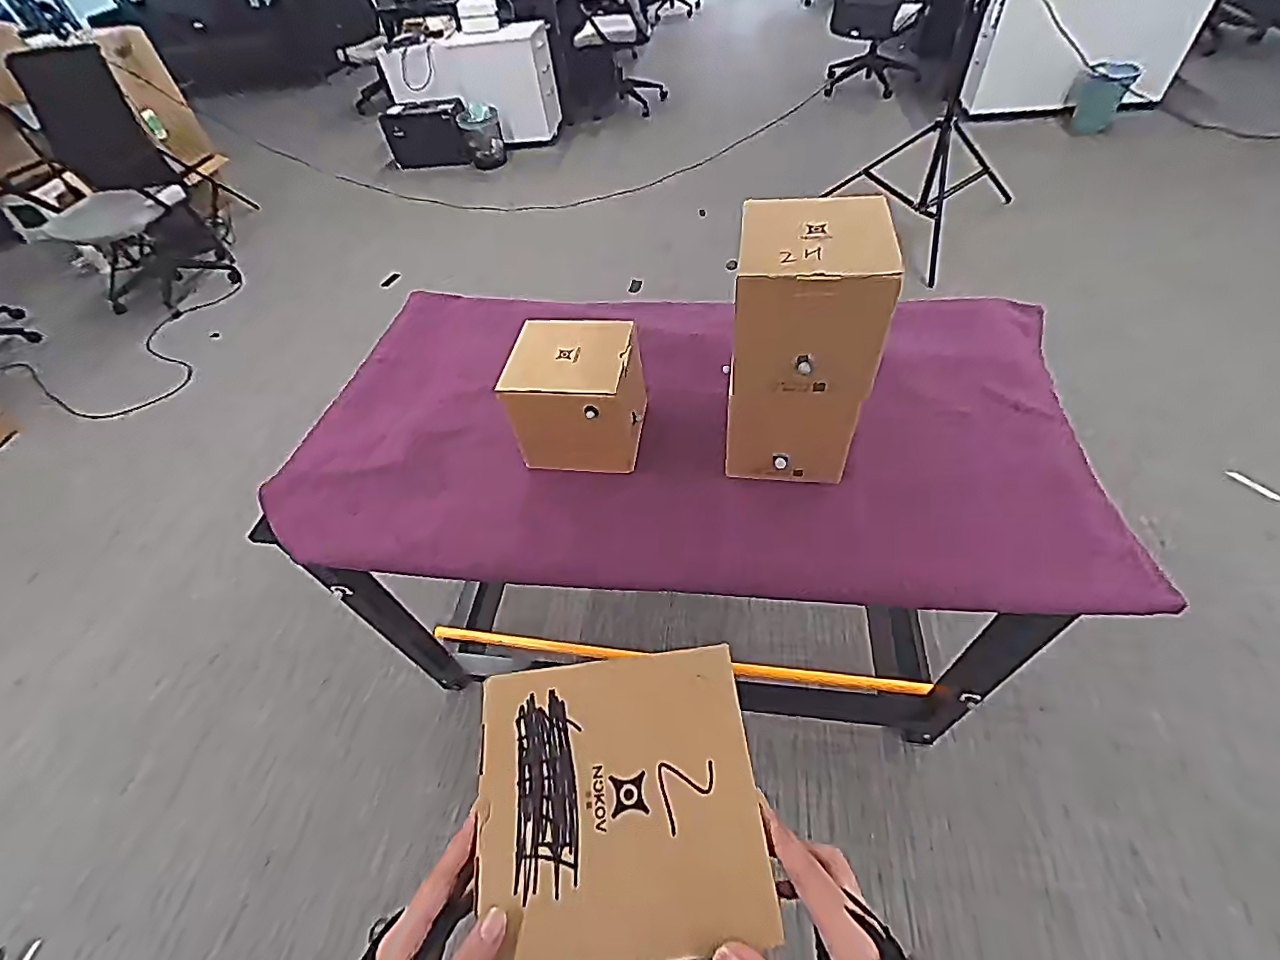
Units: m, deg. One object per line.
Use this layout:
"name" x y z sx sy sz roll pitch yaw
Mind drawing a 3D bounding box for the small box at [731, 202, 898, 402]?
"small box" 0.202 -0.219 0.667 0.168 0.176 0.179 3 51 11

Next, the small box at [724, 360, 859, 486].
"small box" 0.213 -0.114 0.795 0.168 0.176 0.179 4 52 11

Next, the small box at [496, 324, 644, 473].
"small box" -0.096 -0.125 0.846 0.179 0.176 0.168 3 51 9
